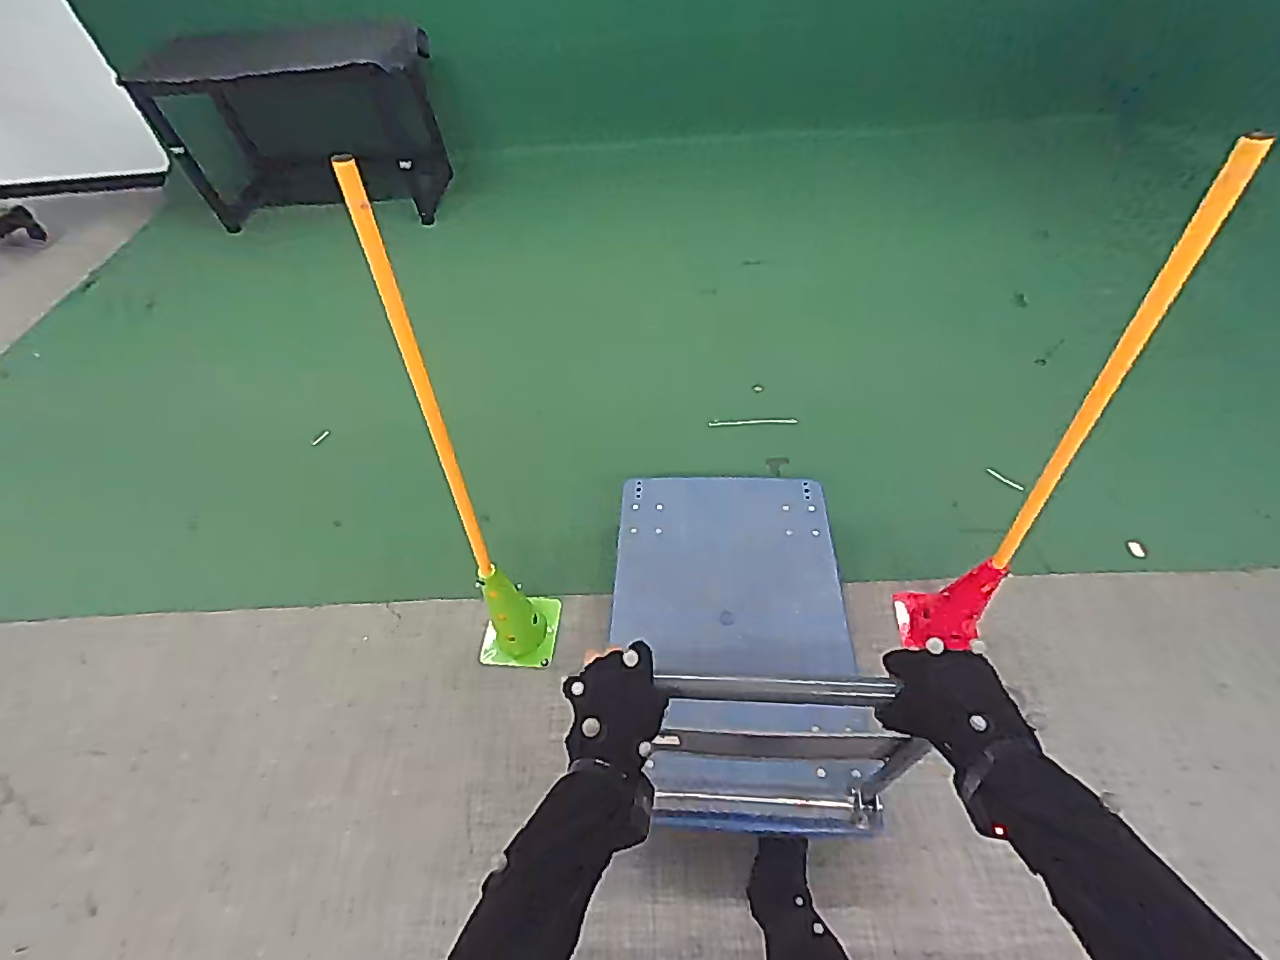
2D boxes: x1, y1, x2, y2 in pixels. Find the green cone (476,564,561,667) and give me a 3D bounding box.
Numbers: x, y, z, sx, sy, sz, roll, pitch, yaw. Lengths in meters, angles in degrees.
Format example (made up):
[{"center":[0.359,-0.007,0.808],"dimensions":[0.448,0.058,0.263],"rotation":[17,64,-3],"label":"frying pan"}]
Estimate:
[{"center":[-0.344,0.320,1.395],"dimensions":[0.202,0.368,0.200],"rotation":[1,51,6],"label":"green cone"}]
